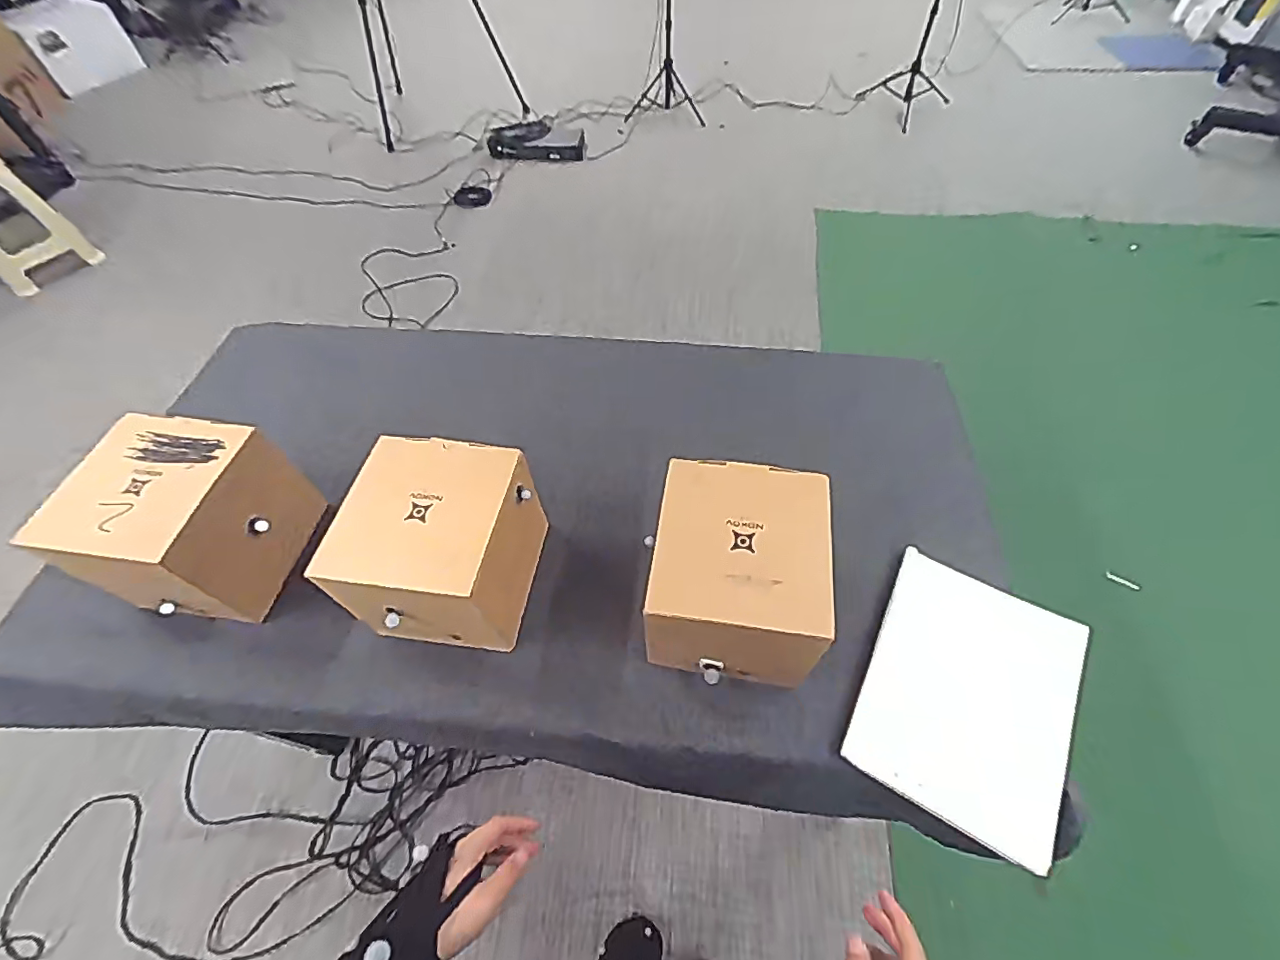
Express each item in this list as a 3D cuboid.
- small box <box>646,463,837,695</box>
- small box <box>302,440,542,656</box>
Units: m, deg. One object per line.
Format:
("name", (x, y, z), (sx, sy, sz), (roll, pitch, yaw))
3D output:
("small box", (0.101, 0.107, 0.571), (0.168, 0.176, 0.179), (6, 56, 8))
("small box", (-0.218, 0.080, 0.602), (0.168, 0.176, 0.179), (6, 54, 6))
